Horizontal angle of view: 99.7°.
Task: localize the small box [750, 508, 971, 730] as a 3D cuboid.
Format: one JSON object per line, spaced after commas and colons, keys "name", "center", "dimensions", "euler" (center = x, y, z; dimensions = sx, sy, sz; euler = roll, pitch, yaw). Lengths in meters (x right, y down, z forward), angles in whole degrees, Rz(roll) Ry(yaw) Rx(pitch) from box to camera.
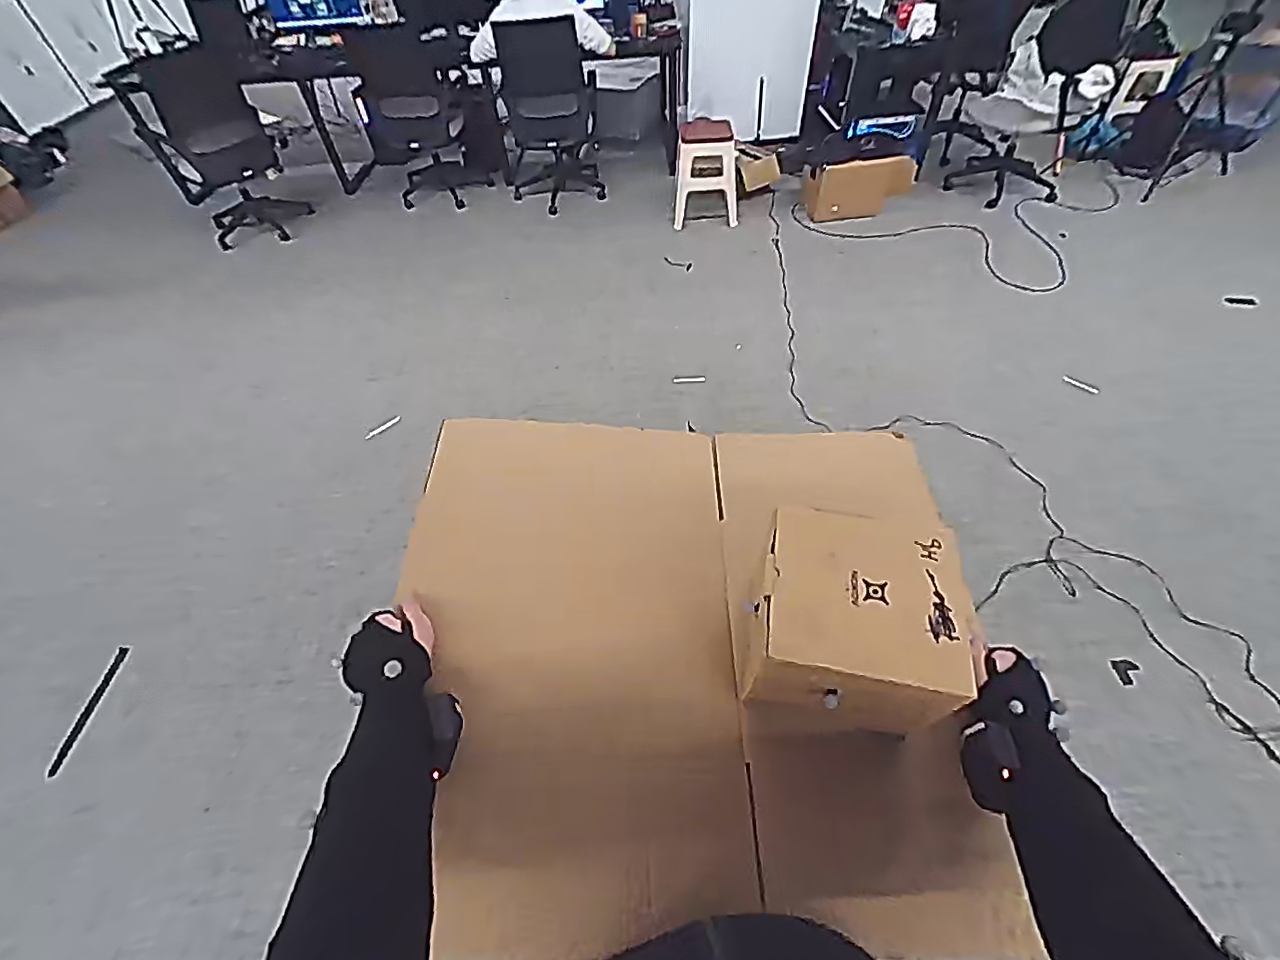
{"name": "small box", "center": [0.216, 0.152, 0.578], "dimensions": [0.179, 0.176, 0.168], "euler": [8, 55, 10]}
